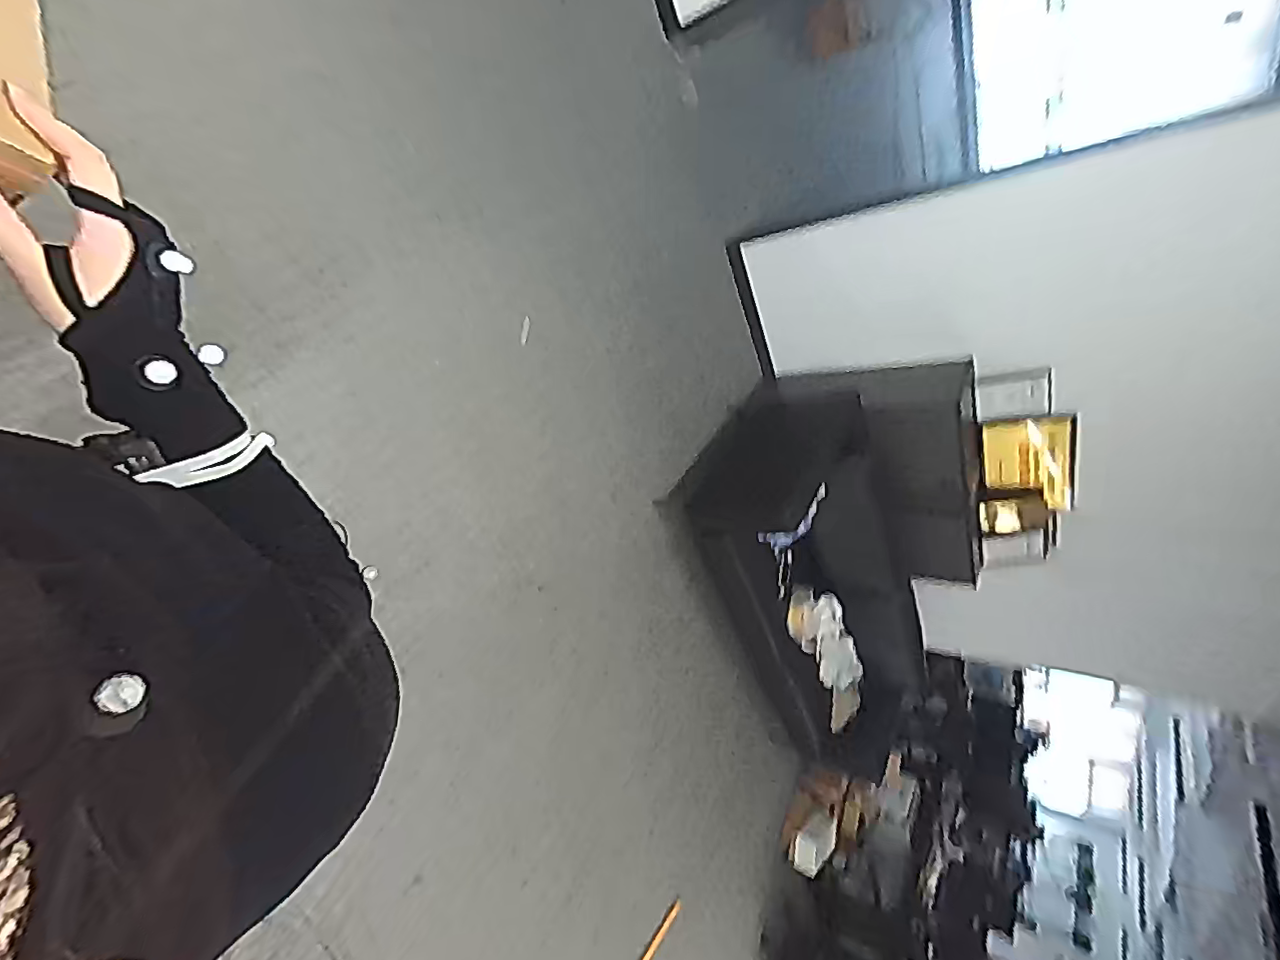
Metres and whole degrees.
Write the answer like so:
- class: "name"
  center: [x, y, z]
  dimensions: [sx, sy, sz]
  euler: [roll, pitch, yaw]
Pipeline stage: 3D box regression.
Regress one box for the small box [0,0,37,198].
- class: "small box"
  center: [-0.456, -0.229, 0.255]
  dimensions: [0.179, 0.168, 0.176]
  euler: [17, 52, -70]
